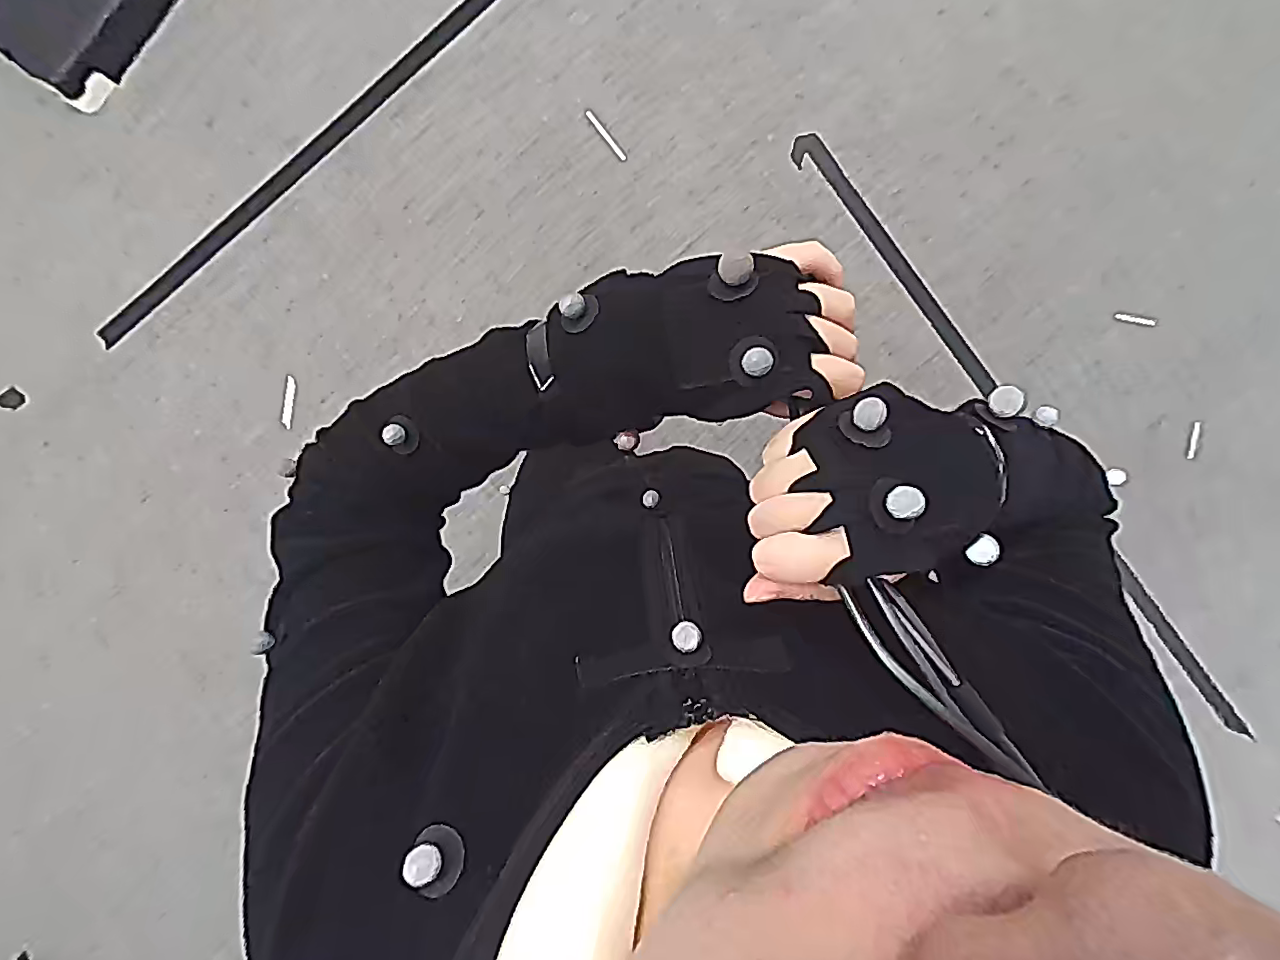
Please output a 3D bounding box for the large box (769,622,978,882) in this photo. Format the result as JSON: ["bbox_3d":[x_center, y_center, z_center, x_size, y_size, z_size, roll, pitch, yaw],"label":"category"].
[{"bbox_3d":[0.513,0.594,1.243,0.320,0.320,0.408,-9,97,-1],"label":"large box"}]
